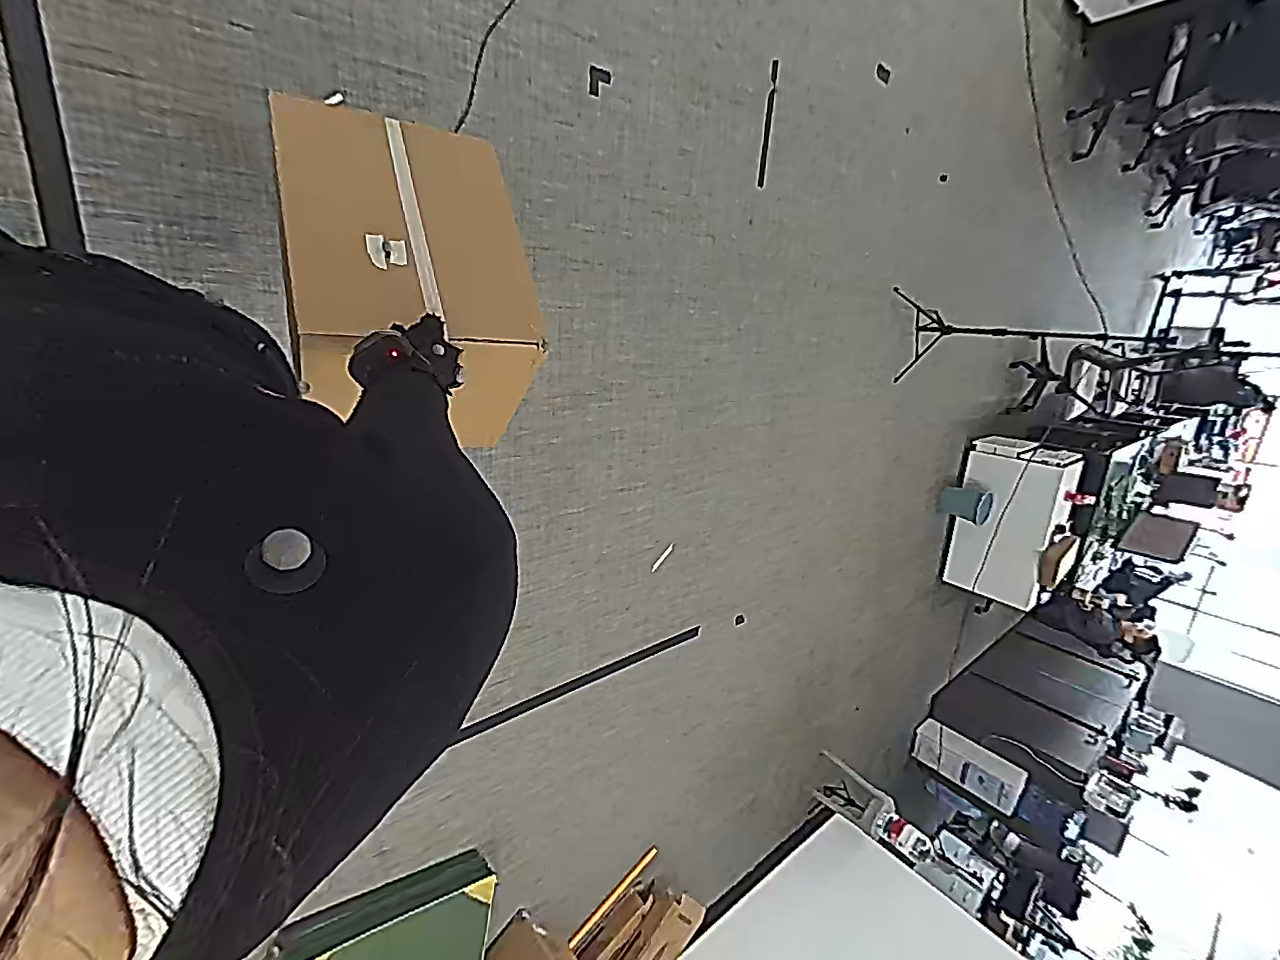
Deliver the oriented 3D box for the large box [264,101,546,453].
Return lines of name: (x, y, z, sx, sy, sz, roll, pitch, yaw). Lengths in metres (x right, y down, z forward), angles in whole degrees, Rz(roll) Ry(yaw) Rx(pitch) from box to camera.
large box: (-0.394, -0.296, 0.882, 0.320, 0.320, 0.408, -8, 71, -32)
